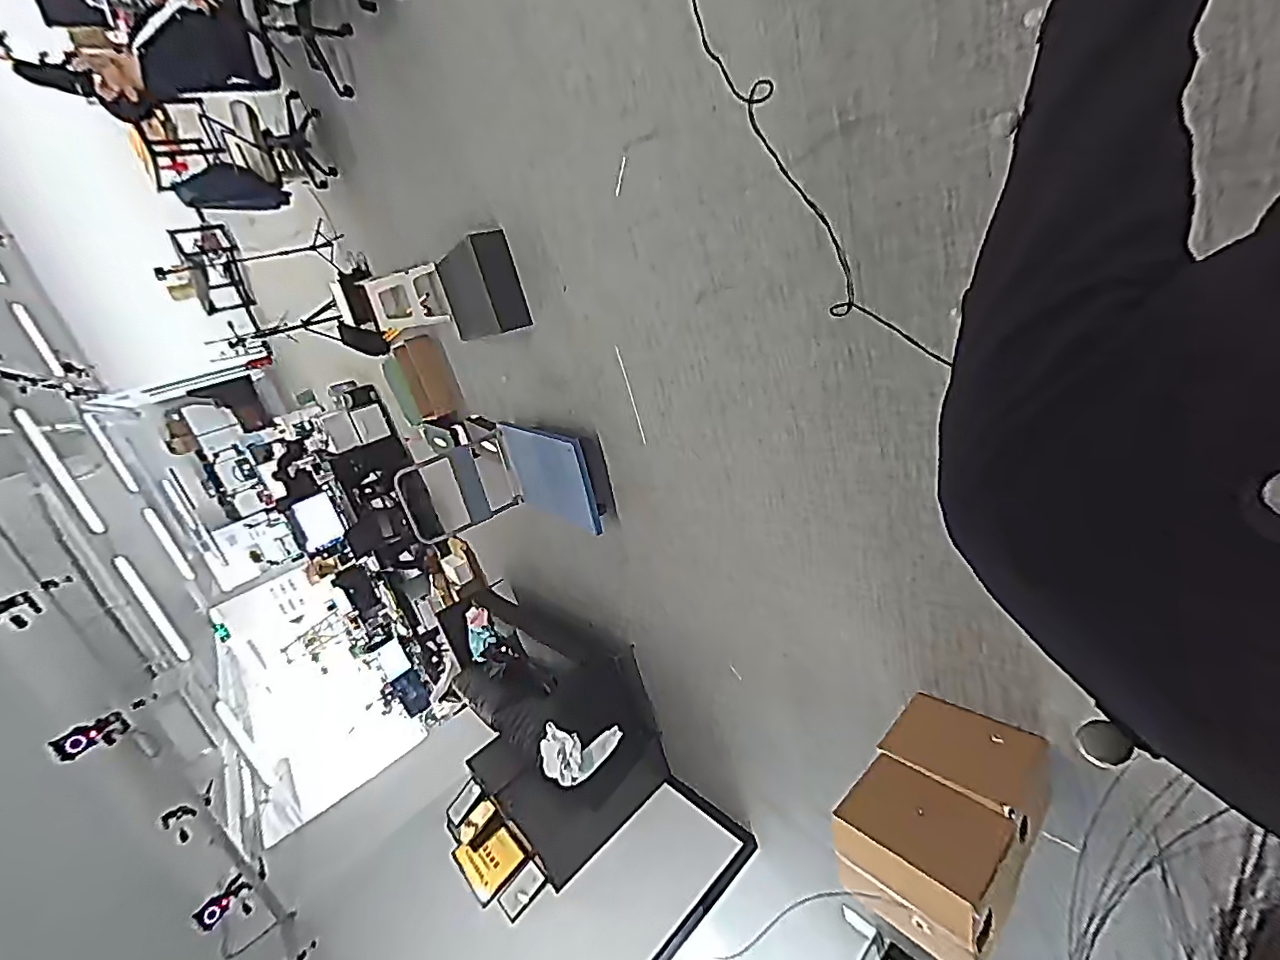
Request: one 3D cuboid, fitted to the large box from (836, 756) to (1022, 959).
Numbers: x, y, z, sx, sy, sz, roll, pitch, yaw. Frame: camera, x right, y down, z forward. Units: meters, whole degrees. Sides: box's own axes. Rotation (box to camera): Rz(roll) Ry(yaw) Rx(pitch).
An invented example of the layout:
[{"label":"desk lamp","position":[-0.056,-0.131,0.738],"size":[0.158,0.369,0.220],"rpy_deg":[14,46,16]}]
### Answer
[{"label":"large box","position":[0.861,1.128,1.623],"size":[0.408,0.320,0.320],"rpy_deg":[10,117,50]}]
